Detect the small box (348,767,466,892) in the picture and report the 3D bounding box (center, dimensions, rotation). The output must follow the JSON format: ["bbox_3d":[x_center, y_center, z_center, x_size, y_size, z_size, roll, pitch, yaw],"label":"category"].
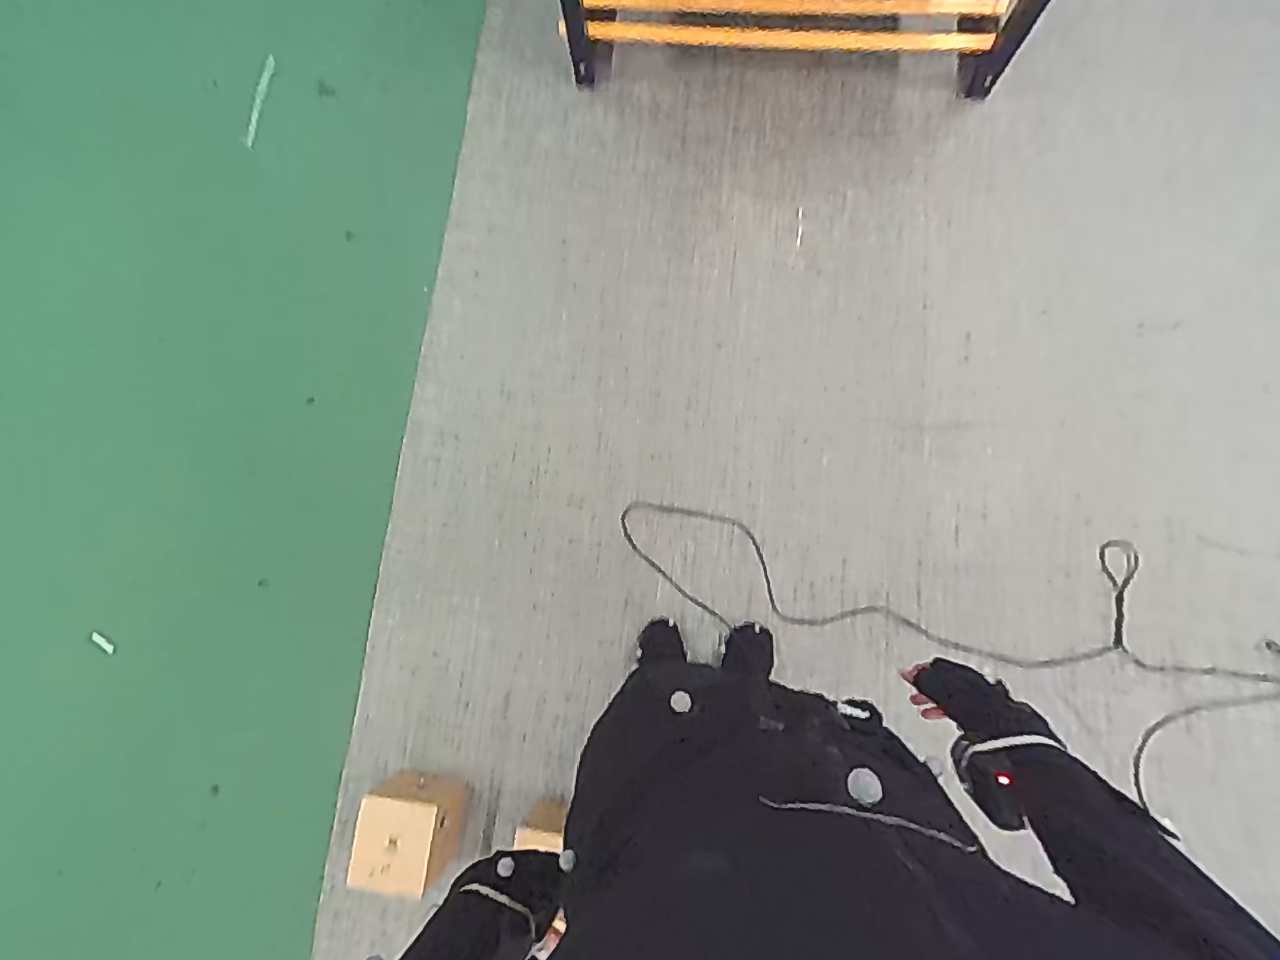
[{"bbox_3d":[-0.501,0.756,1.191,0.168,0.176,0.179,6,80,5],"label":"small box"}]
